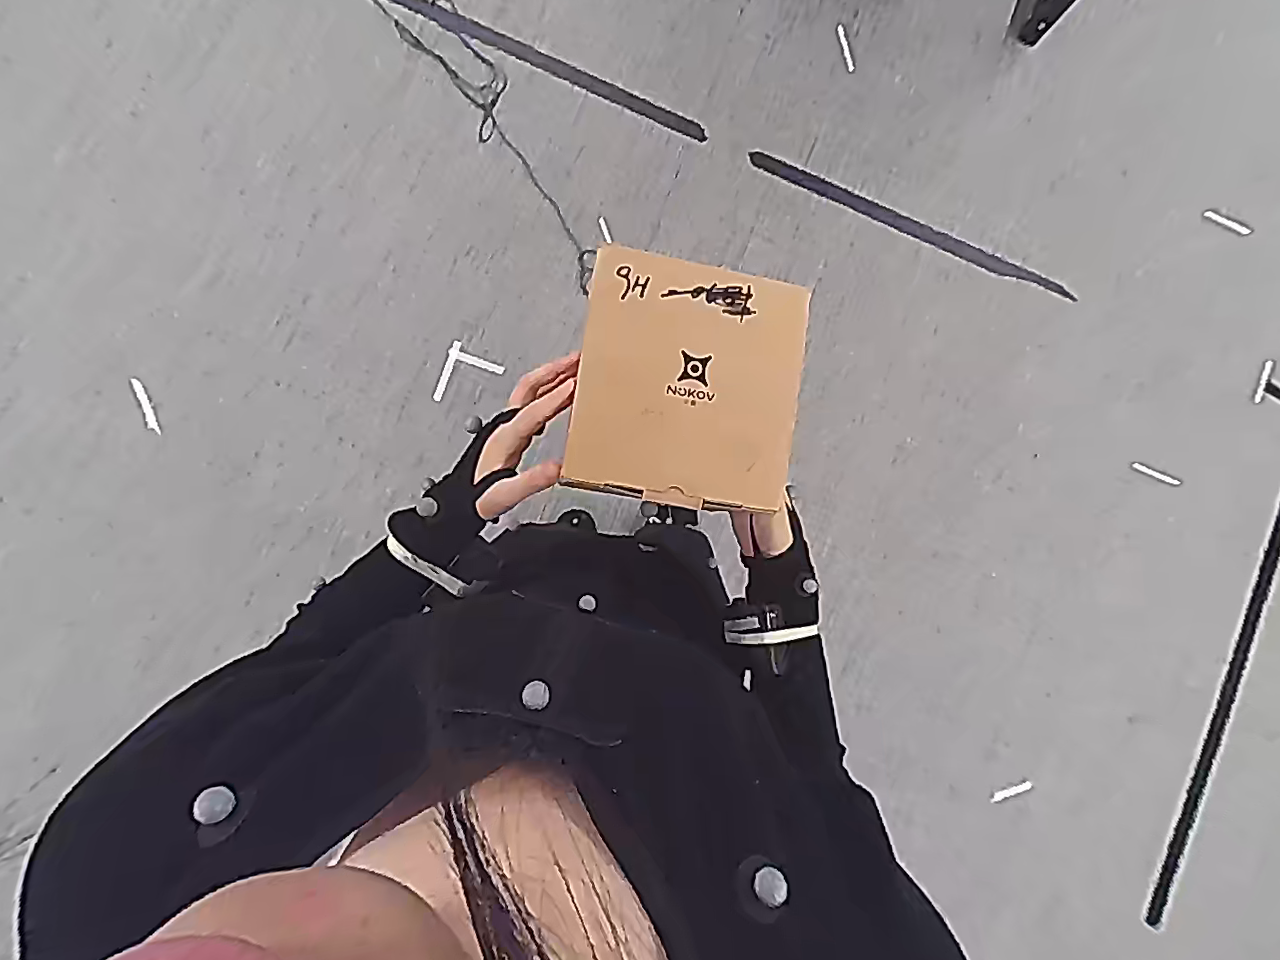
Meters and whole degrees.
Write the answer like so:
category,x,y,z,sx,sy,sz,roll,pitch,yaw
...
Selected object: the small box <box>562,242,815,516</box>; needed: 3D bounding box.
category,x,y,z,sx,sy,sz,roll,pitch,yaw
small box,0.028,-0.070,0.472,0.168,0.176,0.179,10,87,-9
